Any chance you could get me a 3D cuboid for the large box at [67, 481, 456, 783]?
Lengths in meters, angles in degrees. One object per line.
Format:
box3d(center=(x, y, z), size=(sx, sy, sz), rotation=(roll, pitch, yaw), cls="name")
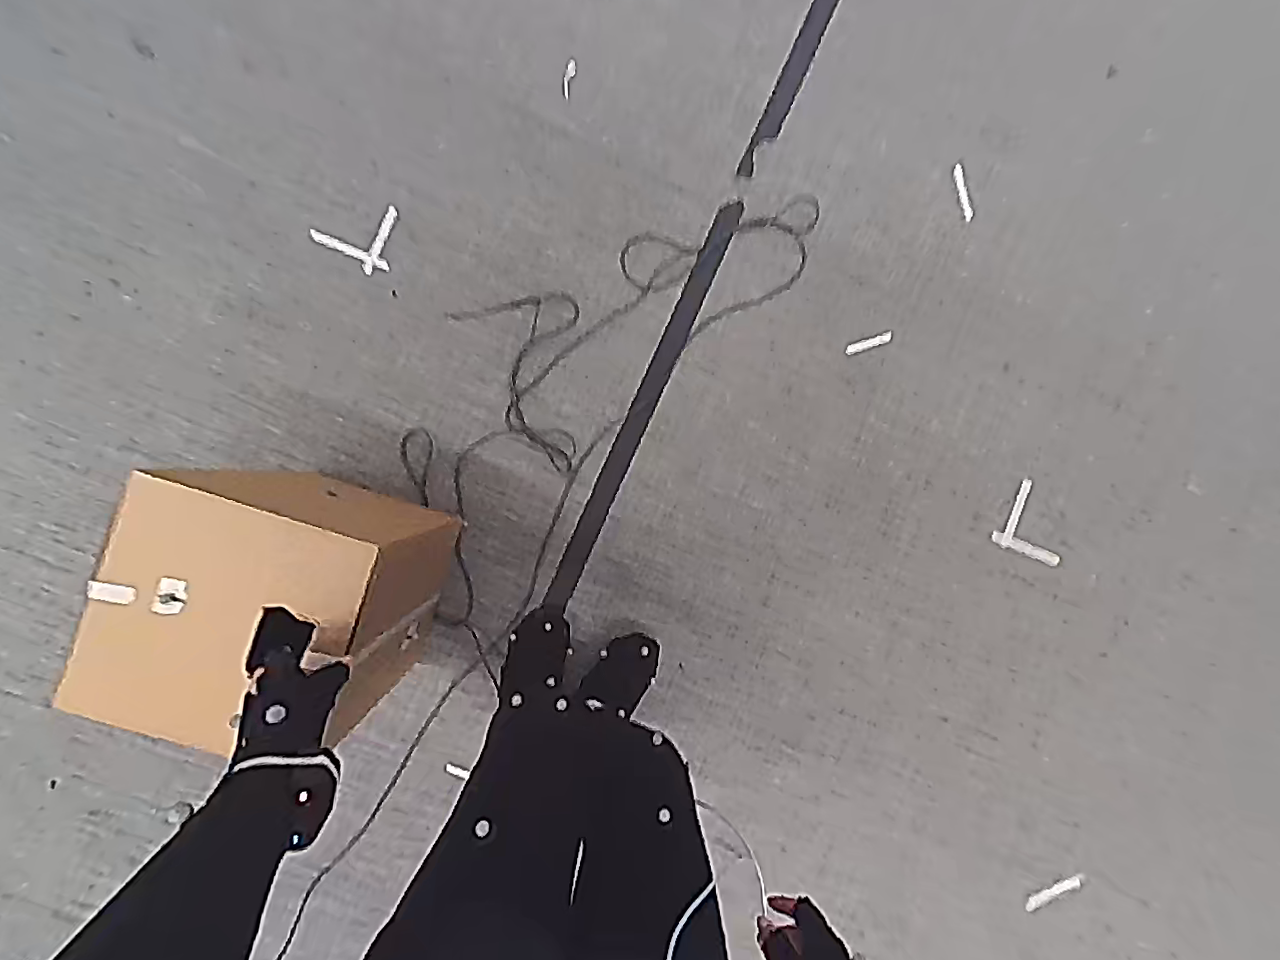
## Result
box3d(center=(-0.542, 0.194, 0.871), size=(0.320, 0.408, 0.320), rotation=(19, 90, -4), cls="large box")
